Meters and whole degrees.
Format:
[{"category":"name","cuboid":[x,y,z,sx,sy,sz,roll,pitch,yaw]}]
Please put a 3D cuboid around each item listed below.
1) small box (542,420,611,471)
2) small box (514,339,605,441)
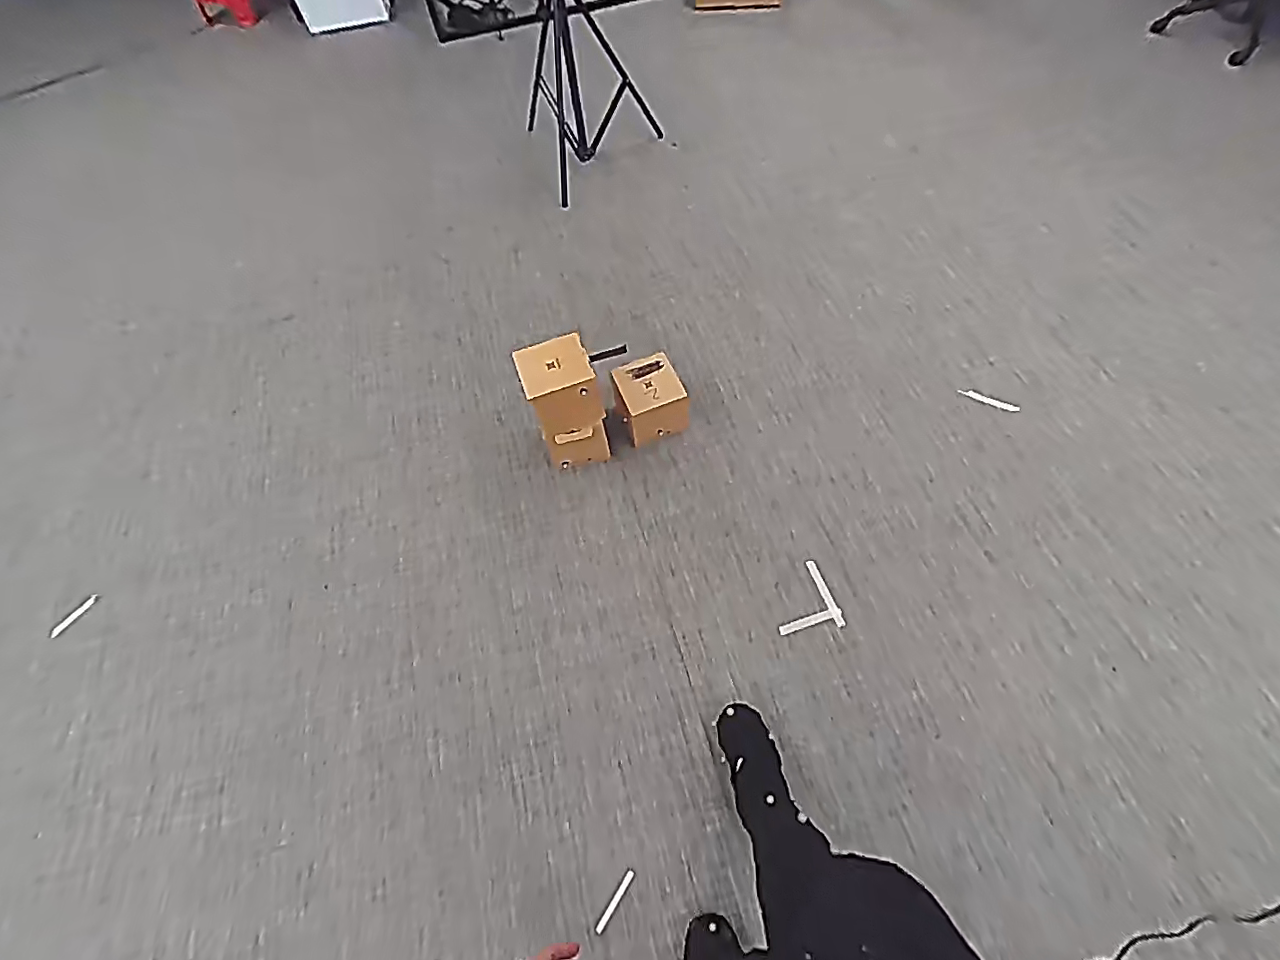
[{"category":"small box","cuboid":[-0.186,-0.142,1.539,0.168,0.176,0.179,-14,60,-3]},{"category":"small box","cuboid":[-0.205,-0.228,1.402,0.179,0.176,0.168,-20,61,-7]}]
